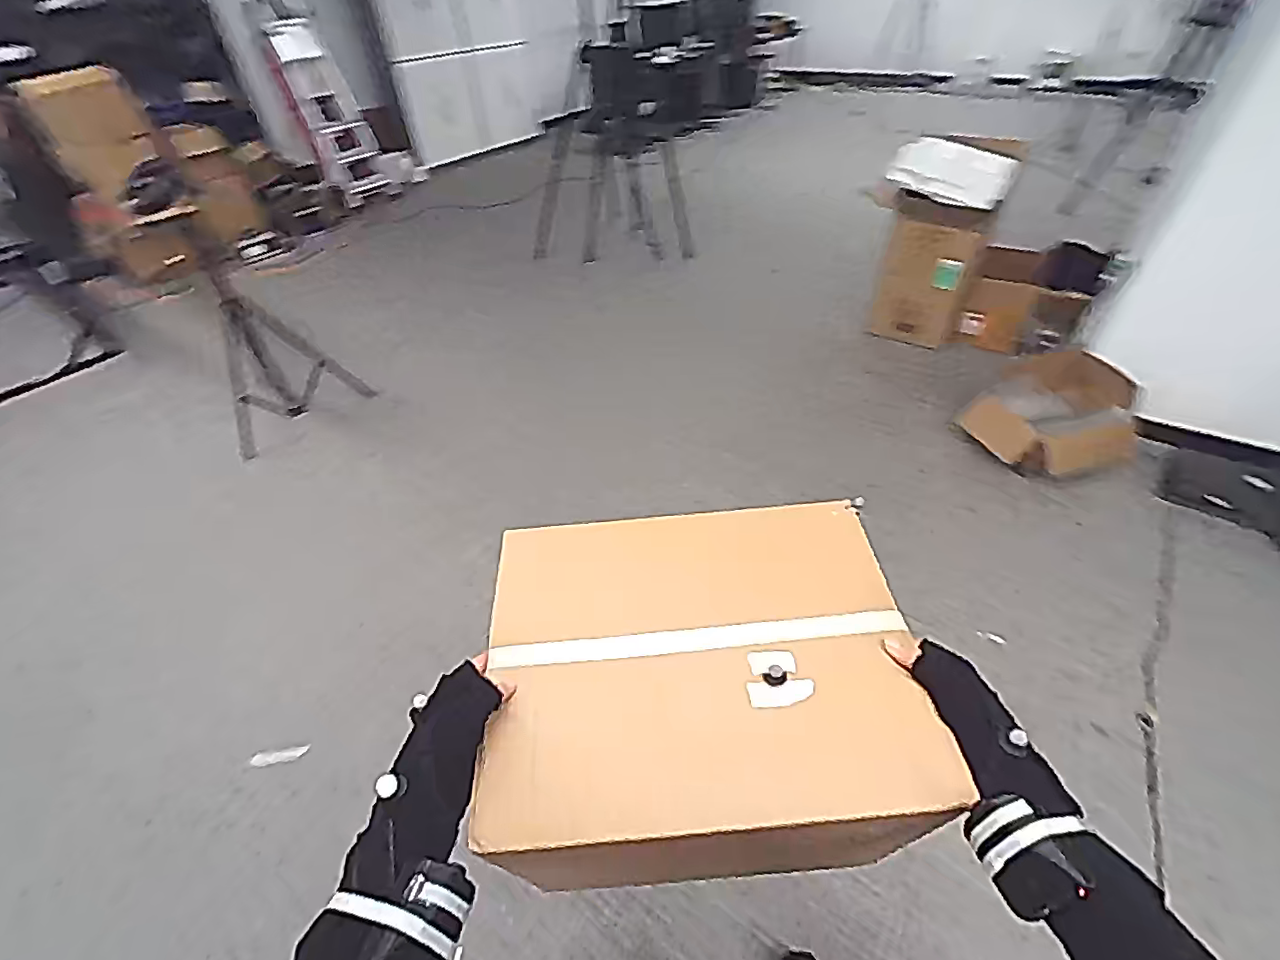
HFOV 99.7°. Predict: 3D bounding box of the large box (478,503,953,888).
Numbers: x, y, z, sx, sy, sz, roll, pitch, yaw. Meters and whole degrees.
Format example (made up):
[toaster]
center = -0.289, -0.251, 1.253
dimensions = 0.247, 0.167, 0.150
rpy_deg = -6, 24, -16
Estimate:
[large box]
center = 0.057, 0.260, 0.648
dimensions = 0.408, 0.320, 0.320
rpy_deg = -6, 48, -1
